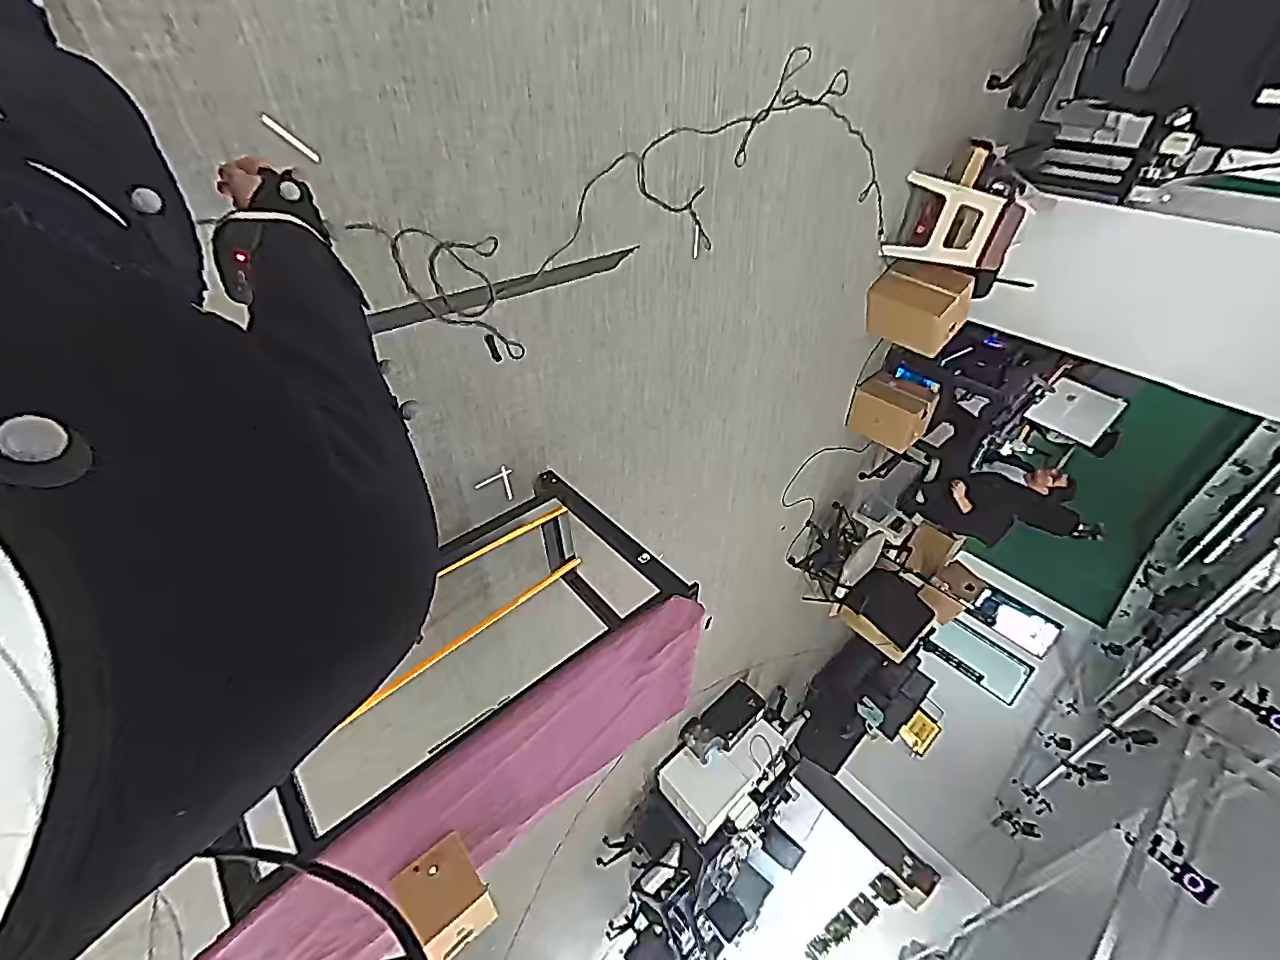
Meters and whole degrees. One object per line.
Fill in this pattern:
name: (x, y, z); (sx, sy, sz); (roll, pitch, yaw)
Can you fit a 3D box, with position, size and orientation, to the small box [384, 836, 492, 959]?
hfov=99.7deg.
small box: (-0.467, 0.979, 1.257); (0.168, 0.176, 0.179); (-27, 136, -33)
